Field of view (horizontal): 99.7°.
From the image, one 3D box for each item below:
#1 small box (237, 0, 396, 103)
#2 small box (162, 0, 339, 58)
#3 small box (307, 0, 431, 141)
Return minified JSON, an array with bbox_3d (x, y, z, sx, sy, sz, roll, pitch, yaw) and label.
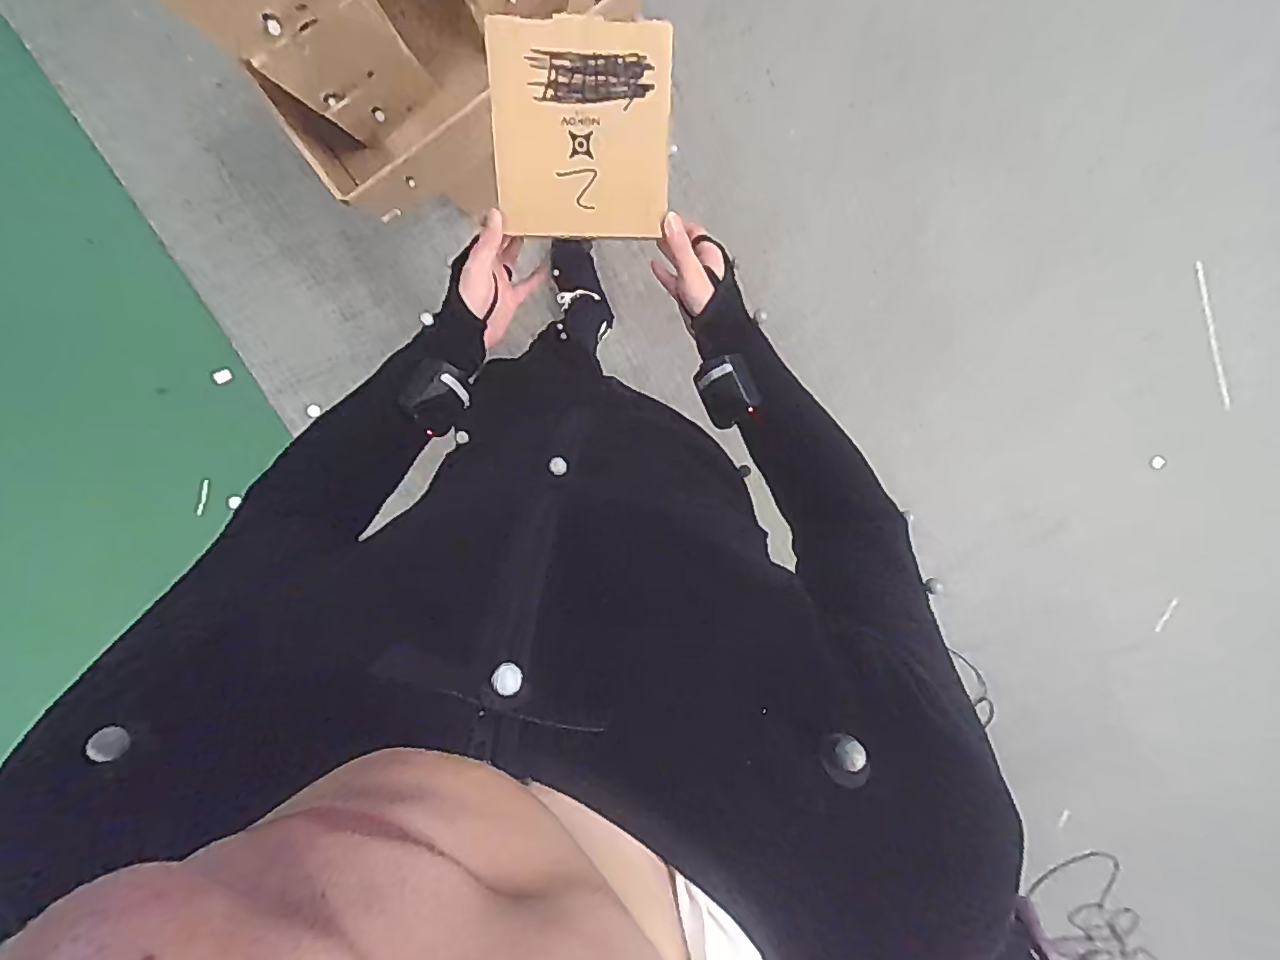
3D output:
[{"bbox_3d":[-0.465,-0.646,0.721,0.168,0.176,0.179,-29,104,5],"label":"small box"},{"bbox_3d":[-0.462,-0.603,0.563,0.168,0.176,0.179,-27,105,5],"label":"small box"},{"bbox_3d":[-0.474,-0.689,0.879,0.168,0.176,0.179,-32,104,7],"label":"small box"}]
